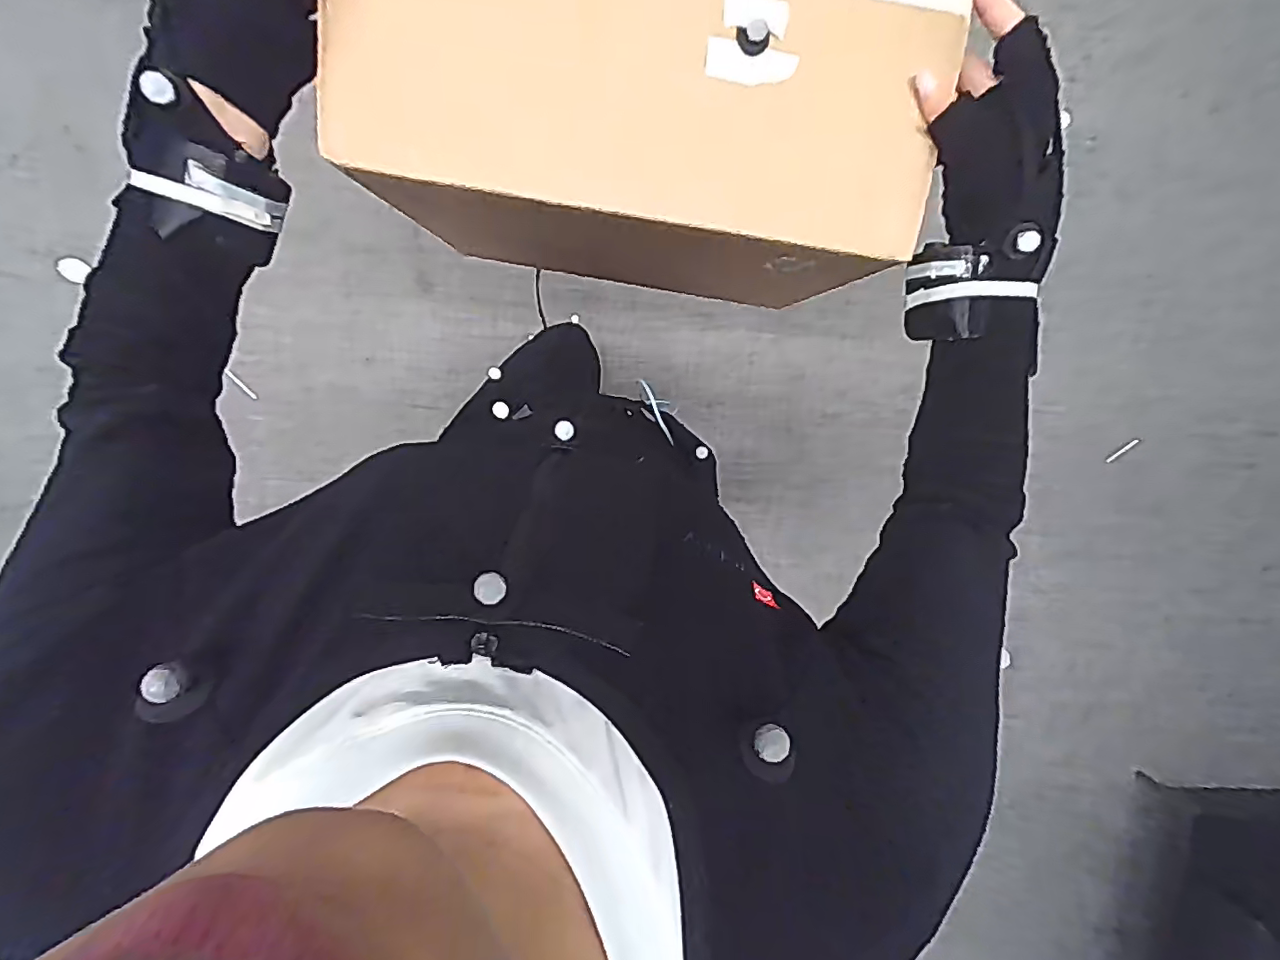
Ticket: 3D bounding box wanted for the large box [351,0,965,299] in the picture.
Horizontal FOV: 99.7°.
[{"bbox_3d":[0.014,-0.368,0.494,0.408,0.320,0.320,8,102,-3],"label":"large box"}]
